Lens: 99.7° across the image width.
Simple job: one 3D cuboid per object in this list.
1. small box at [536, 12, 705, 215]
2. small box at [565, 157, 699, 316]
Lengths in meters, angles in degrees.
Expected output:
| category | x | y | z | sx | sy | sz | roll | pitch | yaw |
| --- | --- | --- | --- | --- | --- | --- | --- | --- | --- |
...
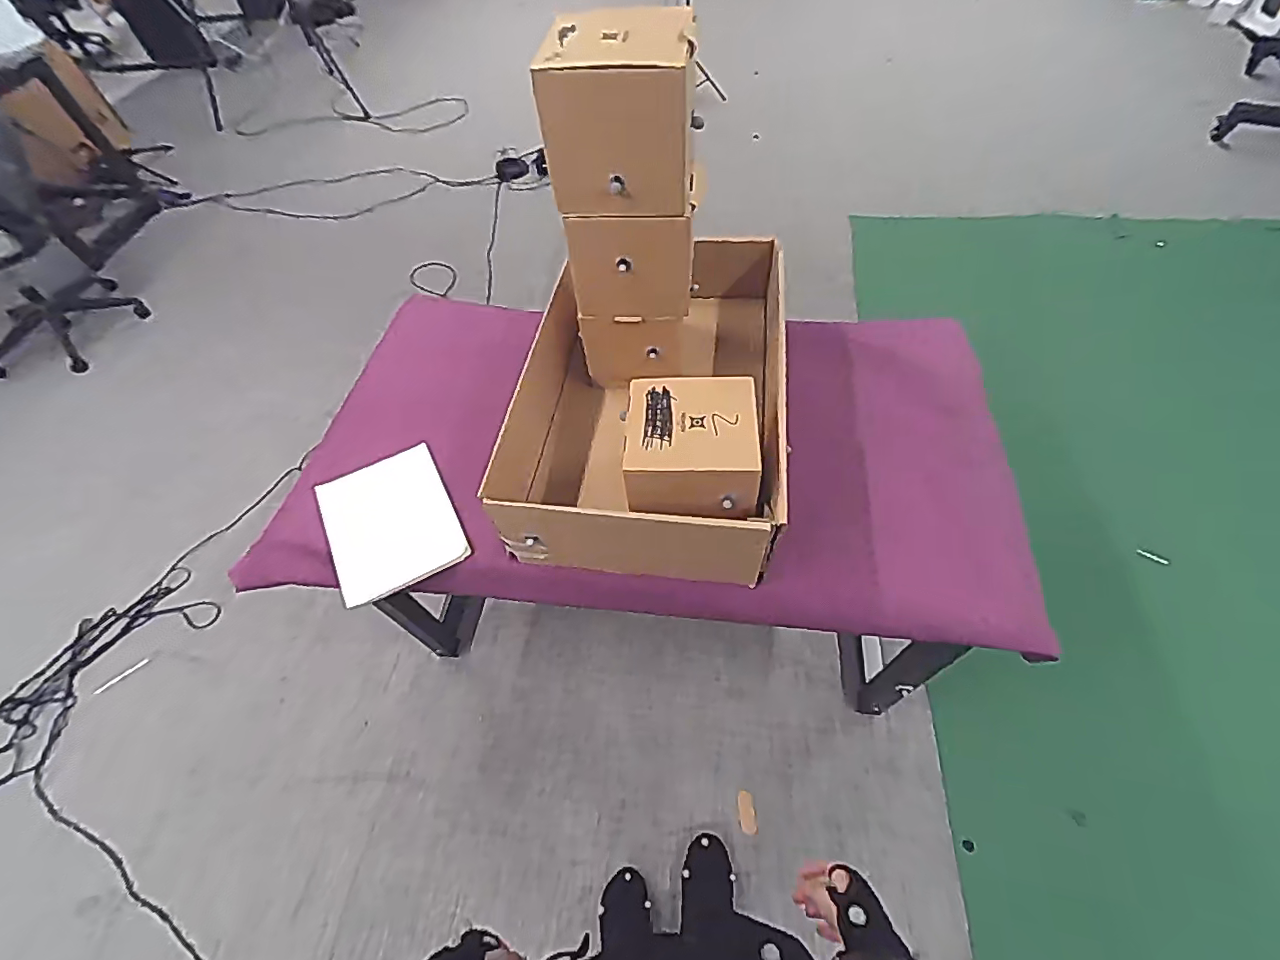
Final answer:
| category | x | y | z | sx | sy | sz | roll | pitch | yaw |
| --- | --- | --- | --- | --- | --- | --- | --- | --- | --- |
| small box | -0.015 | -0.463 | 0.693 | 0.179 | 0.176 | 0.168 | 5 | 56 | 6 |
| small box | -0.003 | -0.368 | 0.826 | 0.179 | 0.176 | 0.168 | 2 | 56 | 6 |
